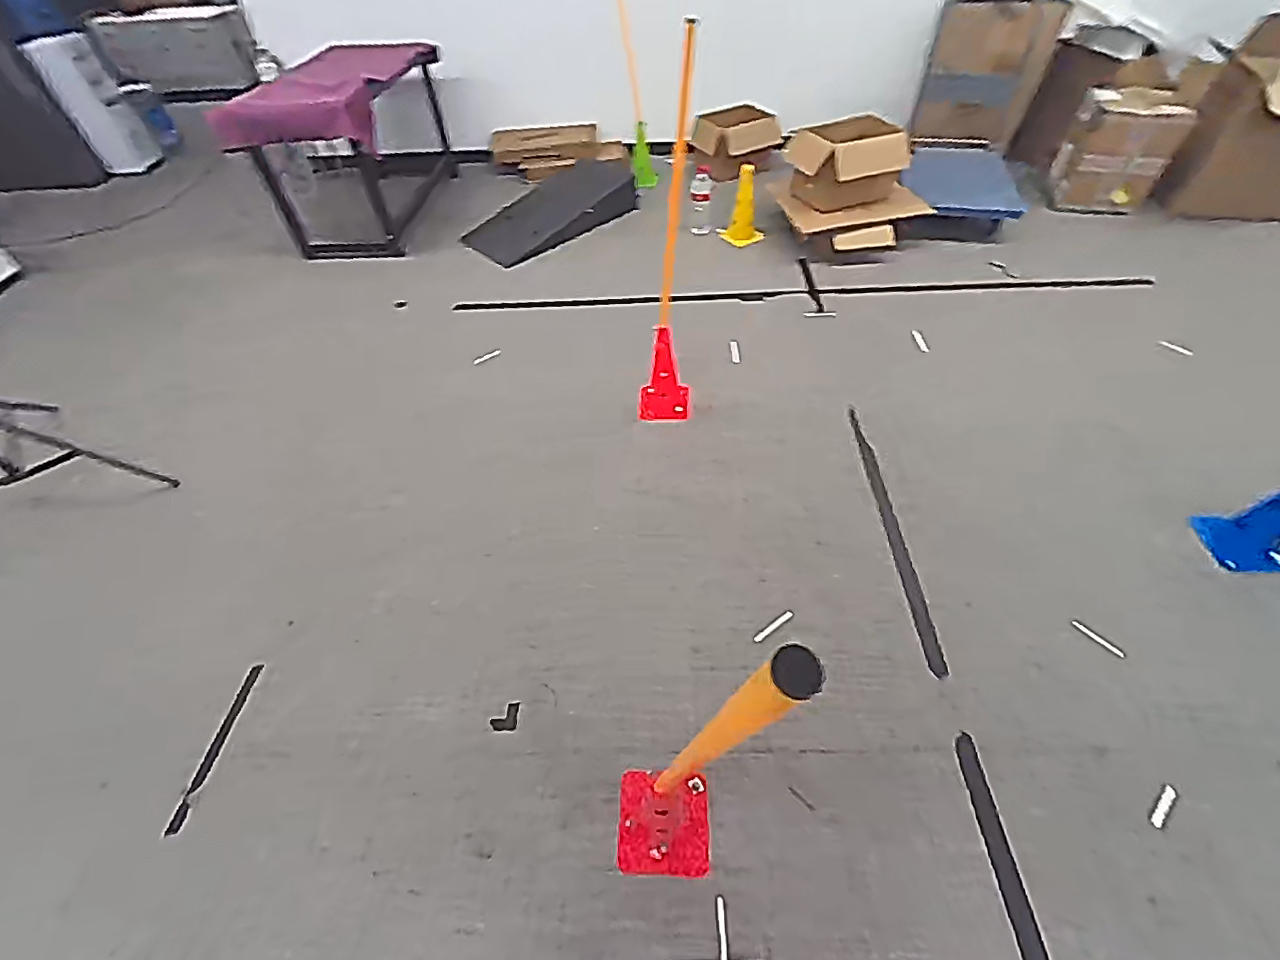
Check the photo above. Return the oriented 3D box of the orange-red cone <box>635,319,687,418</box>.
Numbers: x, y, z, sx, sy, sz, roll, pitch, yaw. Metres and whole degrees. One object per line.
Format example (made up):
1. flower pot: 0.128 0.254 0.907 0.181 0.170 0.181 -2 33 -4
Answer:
1. orange-red cone: 0.077 -0.429 1.990 0.198 0.360 0.199 2 49 5

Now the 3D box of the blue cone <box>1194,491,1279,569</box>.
1. blue cone: 1.781 0.073 1.486 0.193 0.380 0.192 1 50 5
